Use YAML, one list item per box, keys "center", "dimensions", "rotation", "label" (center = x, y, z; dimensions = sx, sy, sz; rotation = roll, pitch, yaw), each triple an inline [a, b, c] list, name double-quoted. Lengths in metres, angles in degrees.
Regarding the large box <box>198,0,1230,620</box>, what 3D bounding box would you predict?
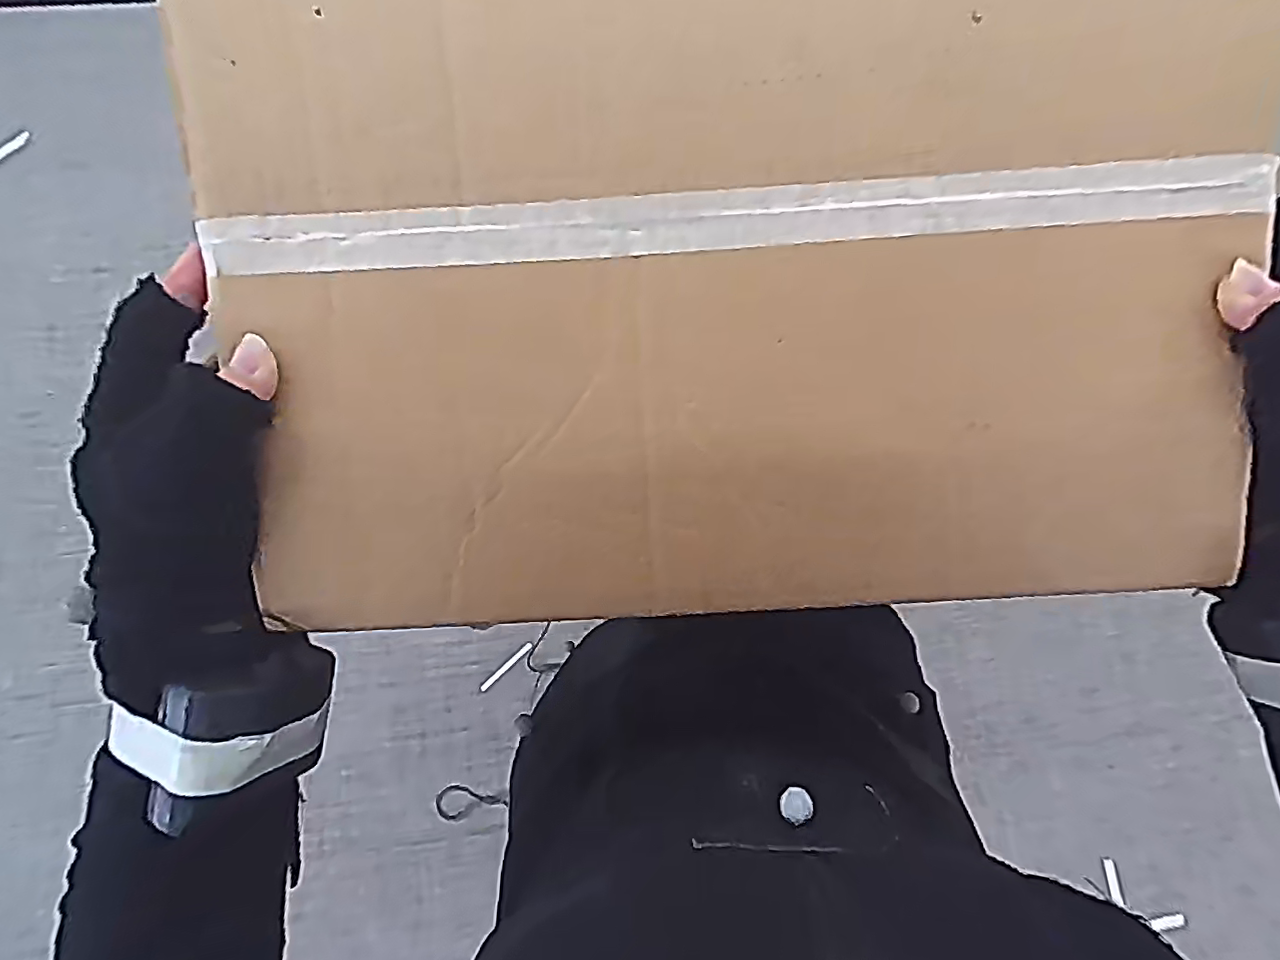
- center: [0.033, -0.121, 0.369]
  dimensions: [0.408, 0.320, 0.320]
  rotation: [-3, 97, 0]
  label: "large box"
